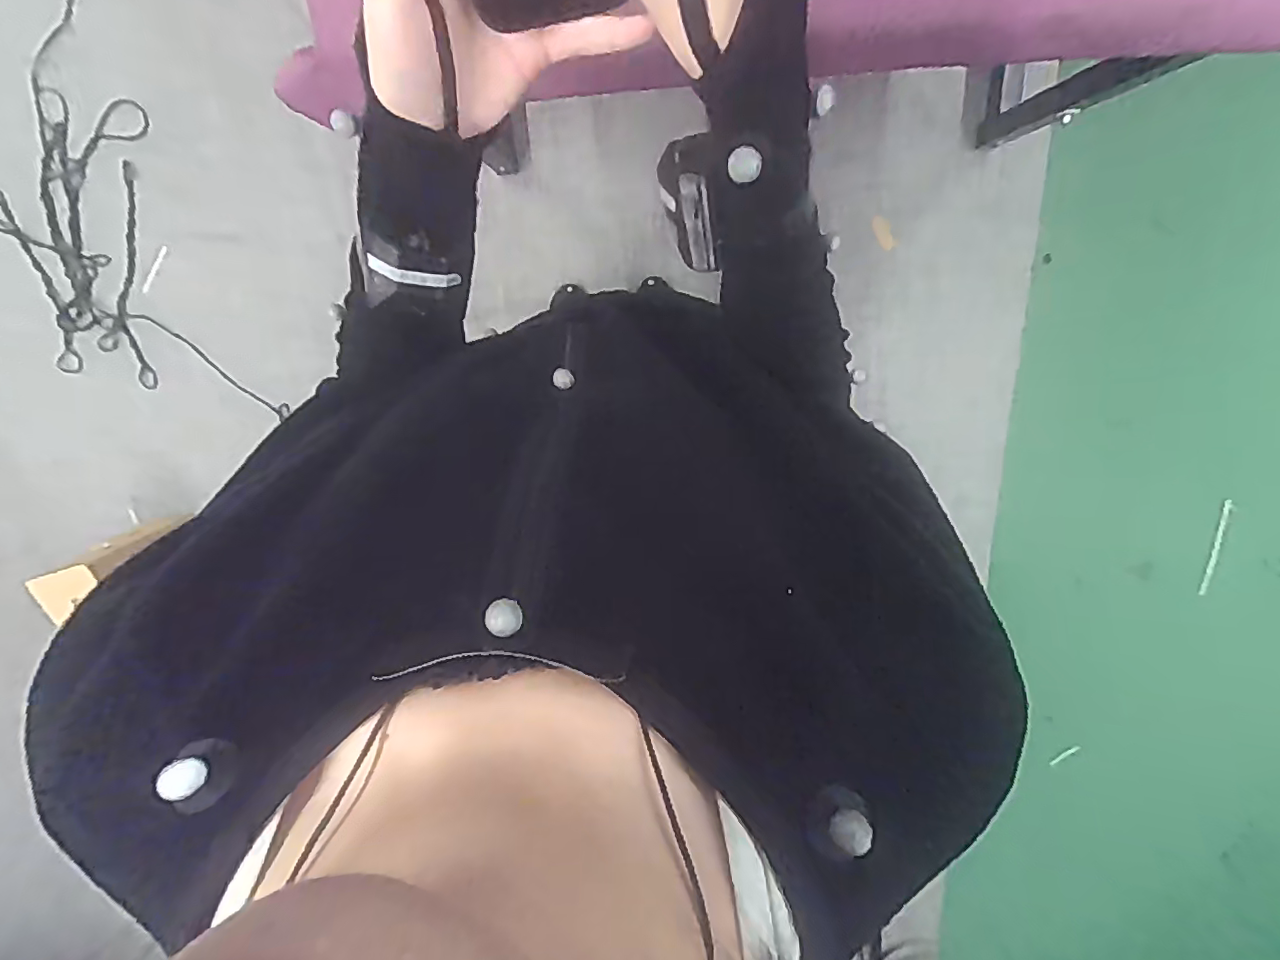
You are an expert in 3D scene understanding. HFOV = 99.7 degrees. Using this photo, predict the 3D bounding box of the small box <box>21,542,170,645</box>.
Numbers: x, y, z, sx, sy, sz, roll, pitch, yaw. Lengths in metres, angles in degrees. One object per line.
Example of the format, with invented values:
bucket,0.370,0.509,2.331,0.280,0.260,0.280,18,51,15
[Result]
small box,-1.362,0.282,1.370,0.168,0.176,0.179,-15,108,4

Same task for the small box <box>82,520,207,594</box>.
small box,-1.375,0.226,1.522,0.179,0.176,0.168,-11,108,4
